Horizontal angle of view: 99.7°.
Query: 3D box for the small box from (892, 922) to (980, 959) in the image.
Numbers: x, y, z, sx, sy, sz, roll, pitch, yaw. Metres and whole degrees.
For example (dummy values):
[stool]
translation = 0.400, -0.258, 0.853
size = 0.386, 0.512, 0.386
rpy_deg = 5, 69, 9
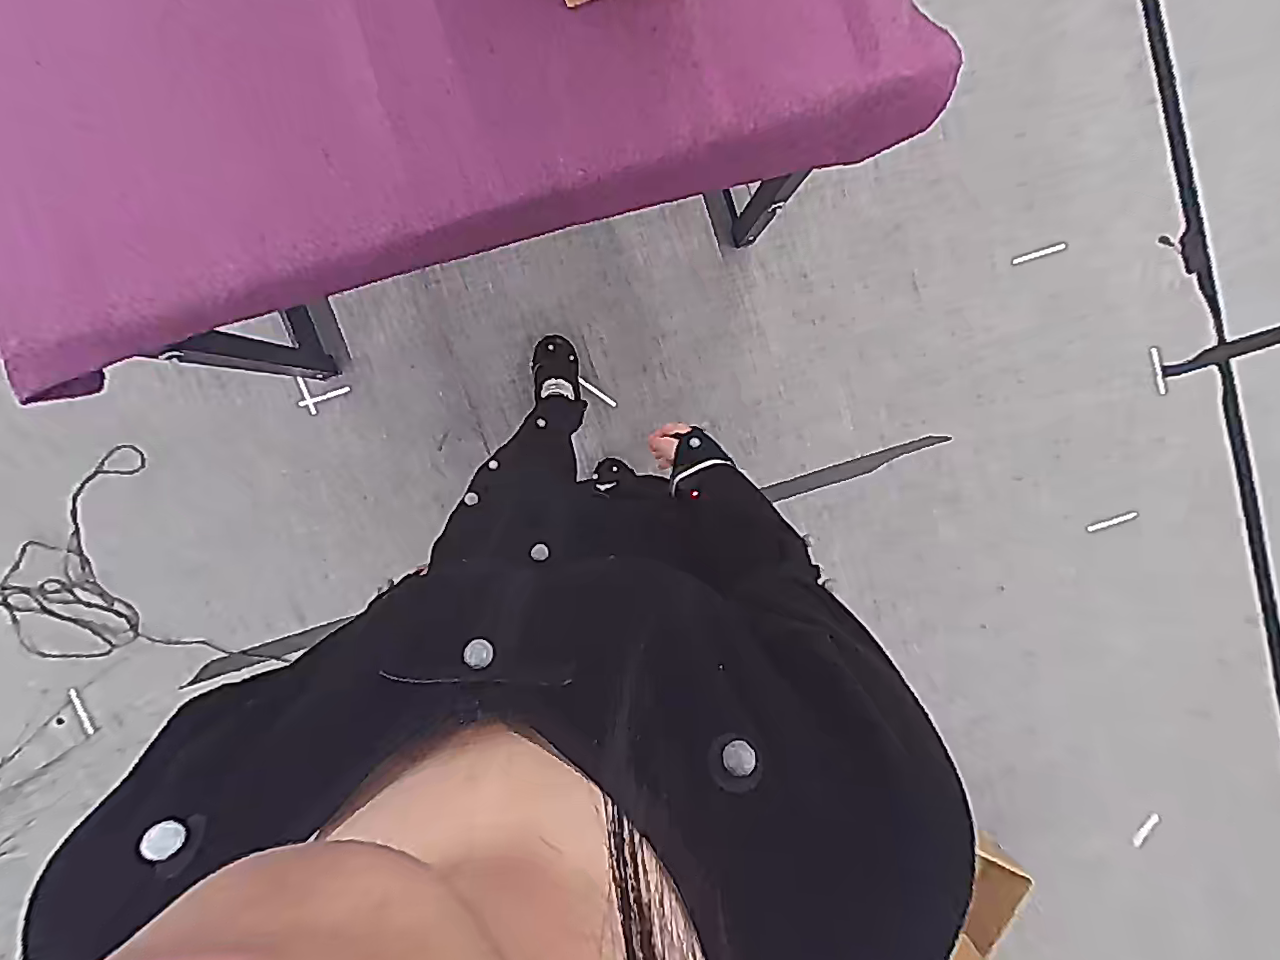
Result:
[small box]
translation = 0.792, 1.296, 1.386
size = 0.179, 0.176, 0.168
rpy_deg = 30, 93, -6
